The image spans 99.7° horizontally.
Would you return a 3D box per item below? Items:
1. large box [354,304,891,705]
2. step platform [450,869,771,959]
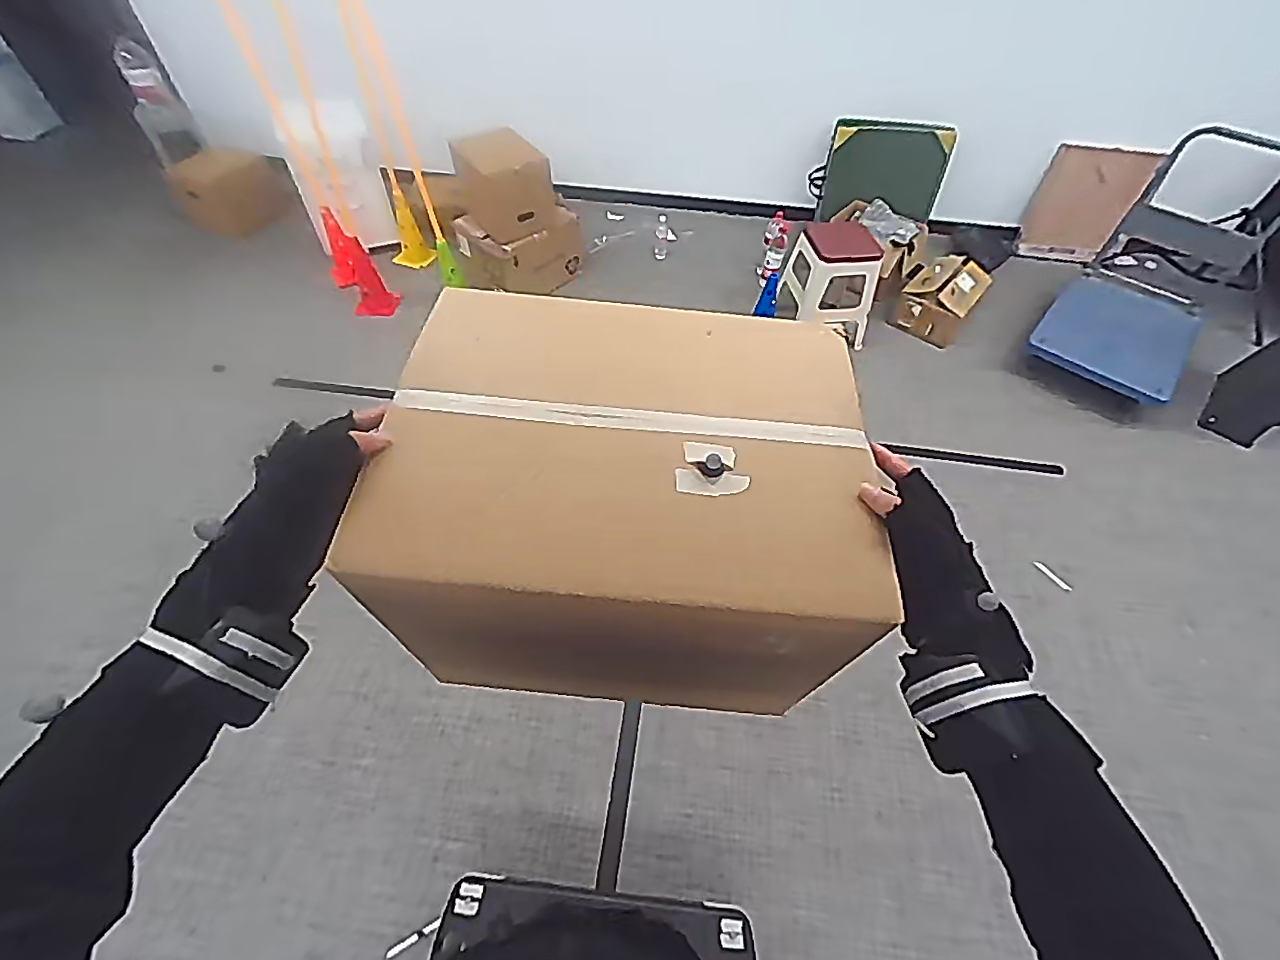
[{"bbox_3d":[-0.013,0.043,0.598,0.408,0.320,0.320,6,56,-1],"label":"large box"},{"bbox_3d":[-0.061,1.049,1.166,0.684,0.204,0.286,6,52,1],"label":"step platform"}]
